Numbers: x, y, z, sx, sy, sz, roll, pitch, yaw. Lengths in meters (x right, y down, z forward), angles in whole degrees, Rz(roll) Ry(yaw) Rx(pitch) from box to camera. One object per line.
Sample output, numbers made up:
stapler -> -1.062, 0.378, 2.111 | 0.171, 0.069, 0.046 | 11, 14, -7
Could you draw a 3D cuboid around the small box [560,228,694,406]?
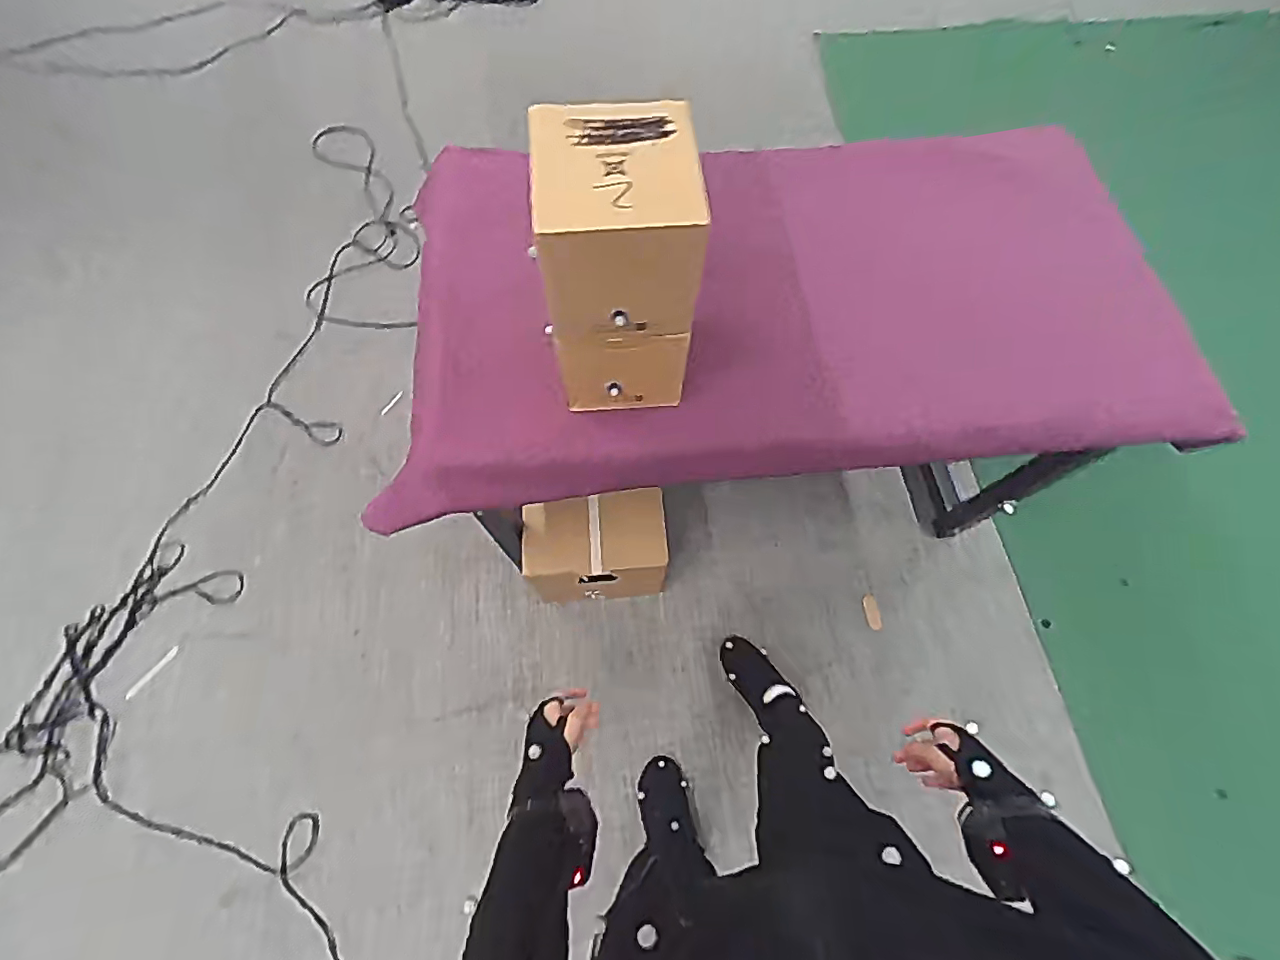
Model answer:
small box -> -0.022, -0.223, 0.759 | 0.168, 0.176, 0.179 | -3, 68, -3
